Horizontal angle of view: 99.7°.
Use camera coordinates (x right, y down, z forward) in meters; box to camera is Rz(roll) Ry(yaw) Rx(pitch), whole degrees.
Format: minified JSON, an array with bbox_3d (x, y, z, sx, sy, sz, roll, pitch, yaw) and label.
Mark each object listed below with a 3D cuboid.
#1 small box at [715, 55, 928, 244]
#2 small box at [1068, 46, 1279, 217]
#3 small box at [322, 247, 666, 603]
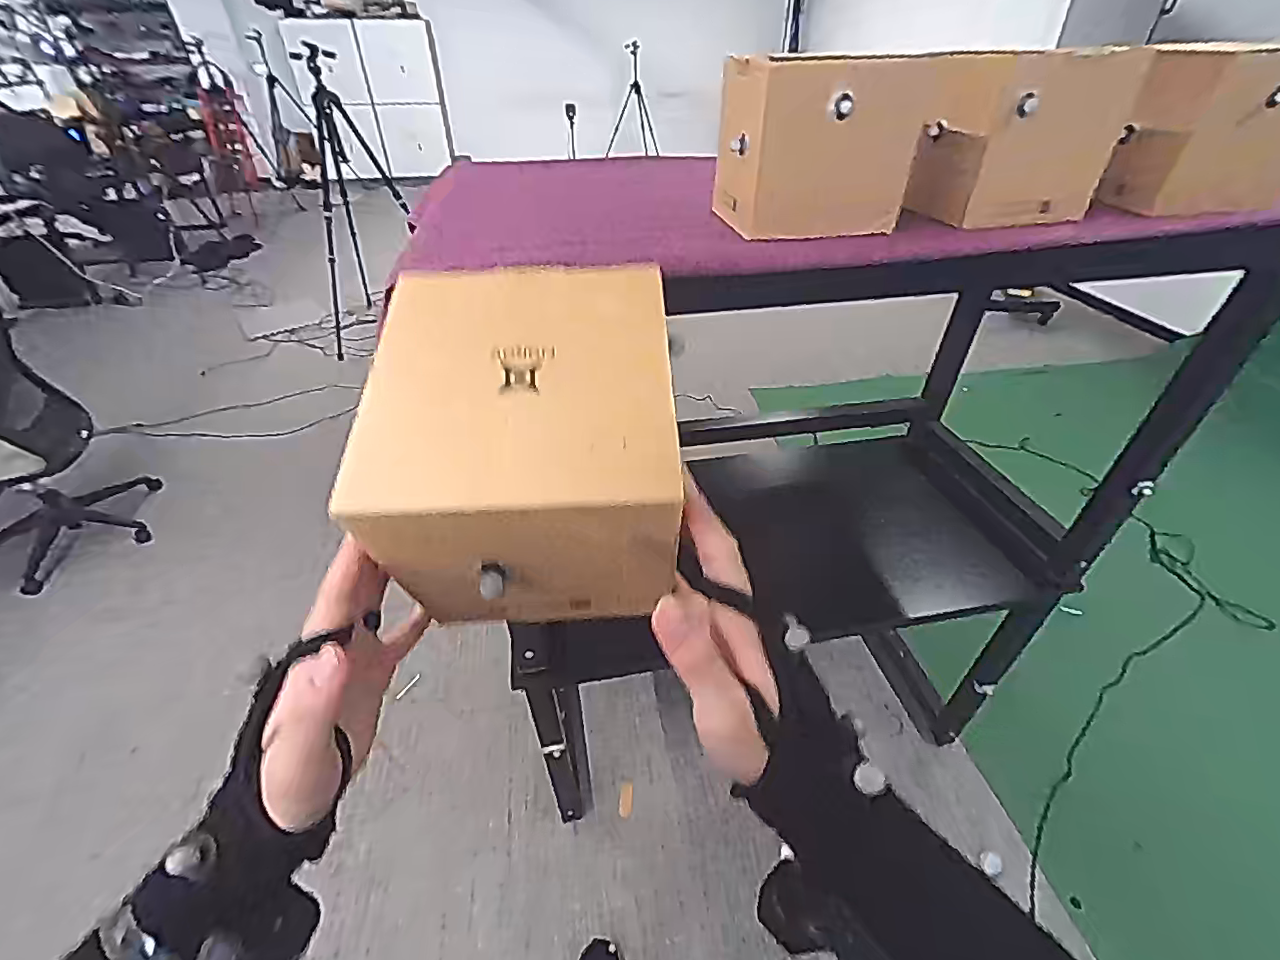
[{"bbox_3d":[0.187,-0.380,0.625,0.179,0.176,0.168,-5,38,-6],"label":"small box"},{"bbox_3d":[0.704,-0.448,0.696,0.179,0.176,0.168,-5,40,-4],"label":"small box"},{"bbox_3d":[-0.070,-0.025,0.361,0.168,0.176,0.179,-3,57,-1],"label":"small box"}]
